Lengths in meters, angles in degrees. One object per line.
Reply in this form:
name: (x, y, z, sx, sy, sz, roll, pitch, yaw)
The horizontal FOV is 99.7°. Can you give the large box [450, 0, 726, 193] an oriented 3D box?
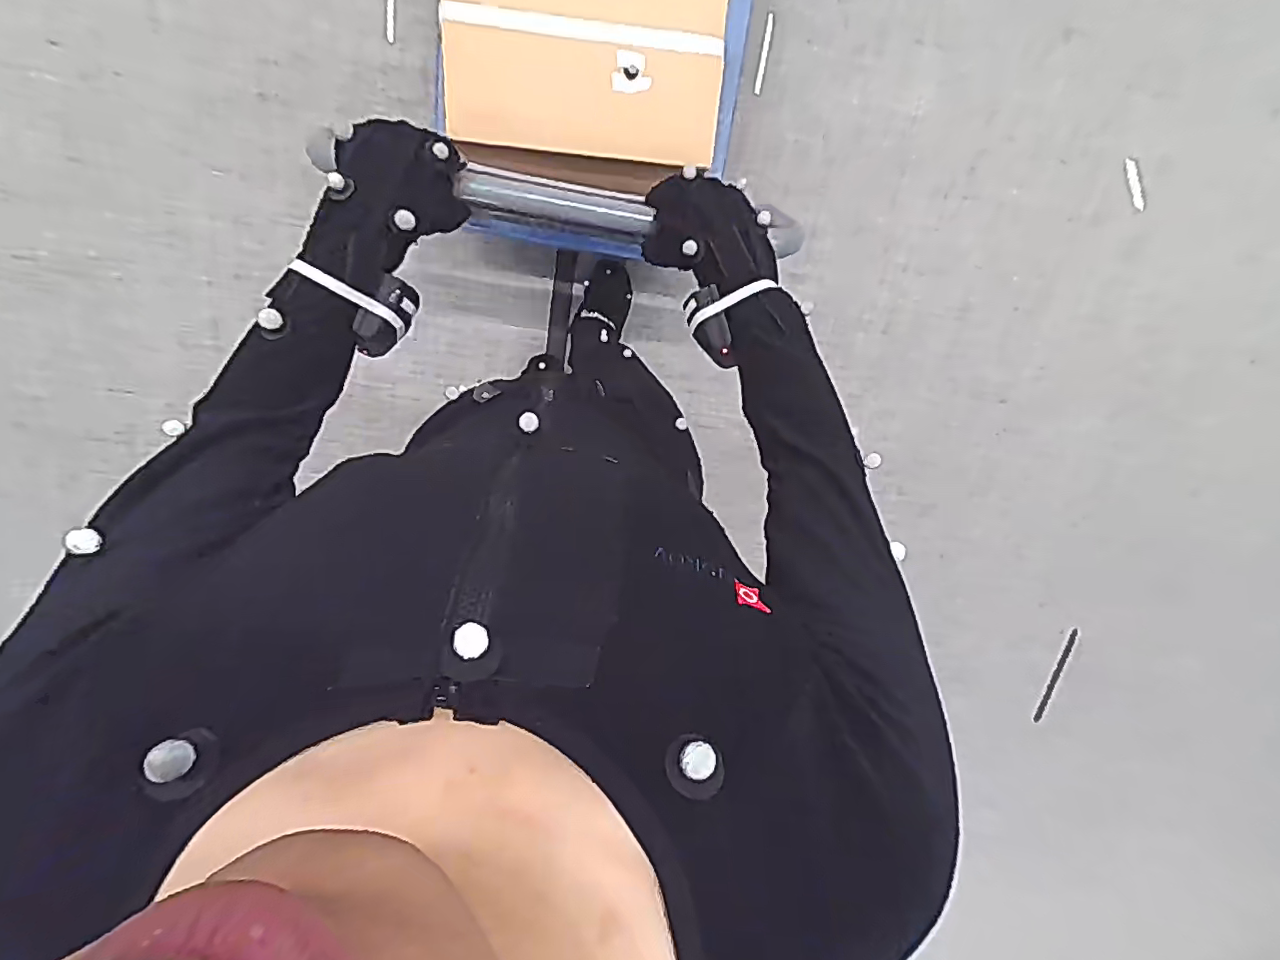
large box: (-0.092, -0.704, 0.928, 0.408, 0.320, 0.320, 2, 109, -8)
